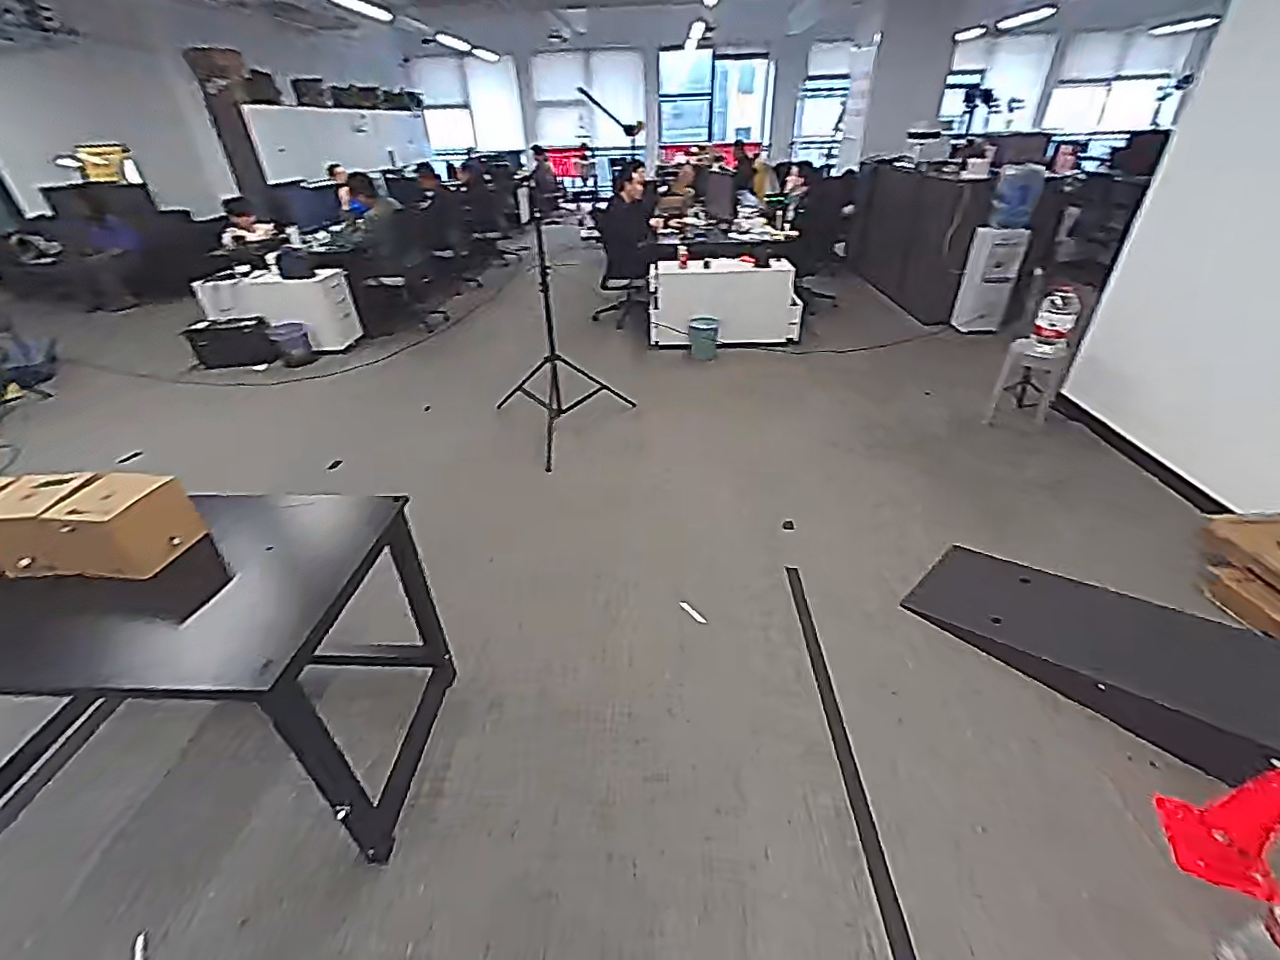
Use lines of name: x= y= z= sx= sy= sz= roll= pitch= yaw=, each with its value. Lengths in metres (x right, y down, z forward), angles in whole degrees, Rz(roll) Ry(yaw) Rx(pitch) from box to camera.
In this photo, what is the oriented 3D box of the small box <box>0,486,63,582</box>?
small box: x=-1.538 y=0.130 z=1.262 sx=0.168 sy=0.176 sz=0.179 roll=2 pitch=33 yaw=5
